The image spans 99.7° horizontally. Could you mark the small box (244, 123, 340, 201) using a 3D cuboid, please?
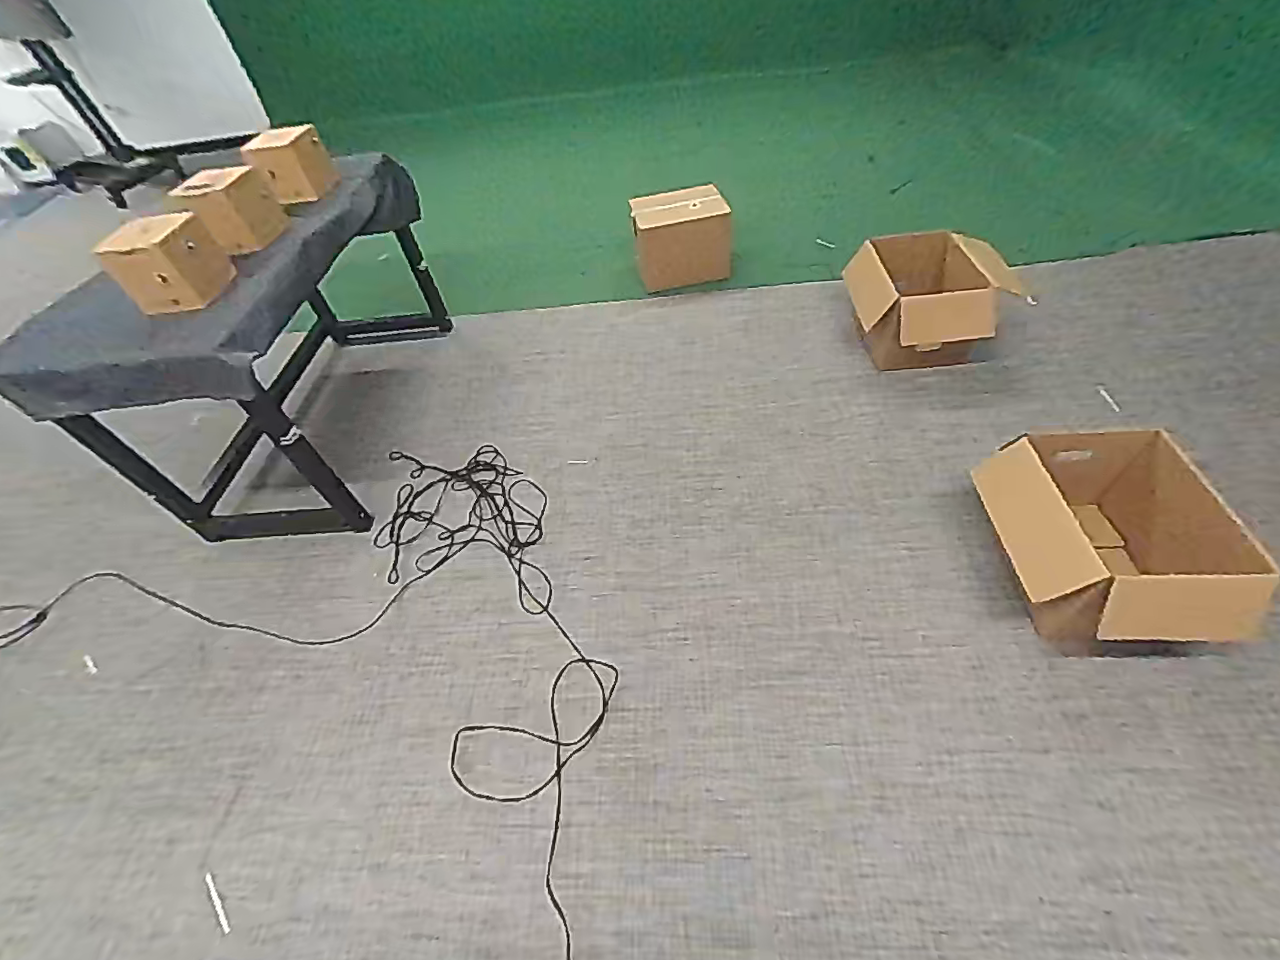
[{"bbox_3d":[-1.108,-1.017,1.741,0.168,0.176,0.179,-2,50,7],"label":"small box"}]

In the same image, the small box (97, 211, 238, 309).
[{"bbox_3d":[-1.160,-0.541,1.348,0.168,0.176,0.179,-4,49,4],"label":"small box"}]
